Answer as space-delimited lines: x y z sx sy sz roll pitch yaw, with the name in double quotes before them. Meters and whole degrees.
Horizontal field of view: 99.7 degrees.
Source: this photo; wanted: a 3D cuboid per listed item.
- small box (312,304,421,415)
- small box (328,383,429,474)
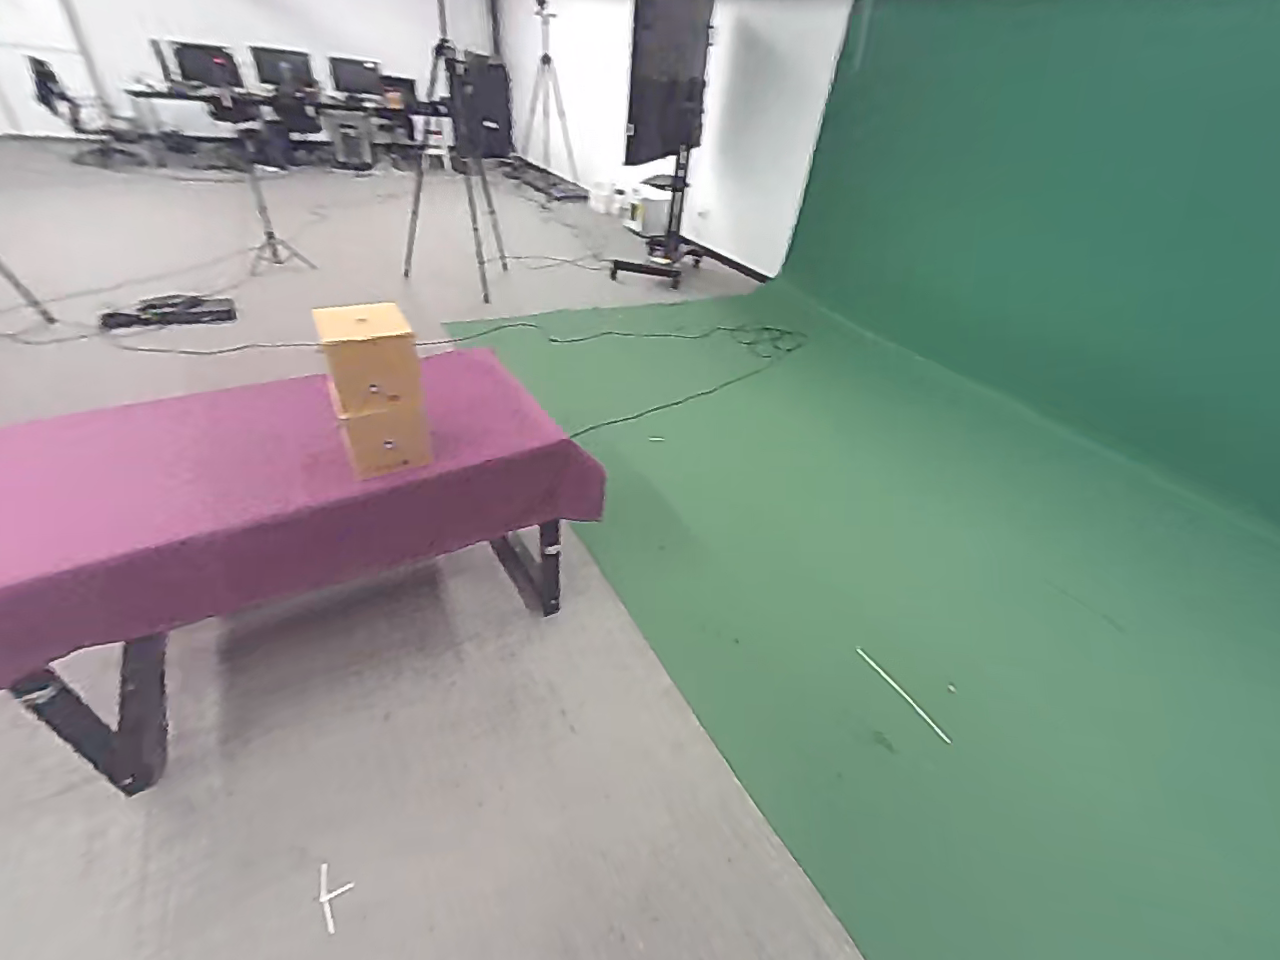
"small box" -0.587 -0.263 1.166 0.168 0.176 0.179 -17 45 -28
"small box" -0.604 -0.129 1.259 0.168 0.176 0.179 -17 43 -28
